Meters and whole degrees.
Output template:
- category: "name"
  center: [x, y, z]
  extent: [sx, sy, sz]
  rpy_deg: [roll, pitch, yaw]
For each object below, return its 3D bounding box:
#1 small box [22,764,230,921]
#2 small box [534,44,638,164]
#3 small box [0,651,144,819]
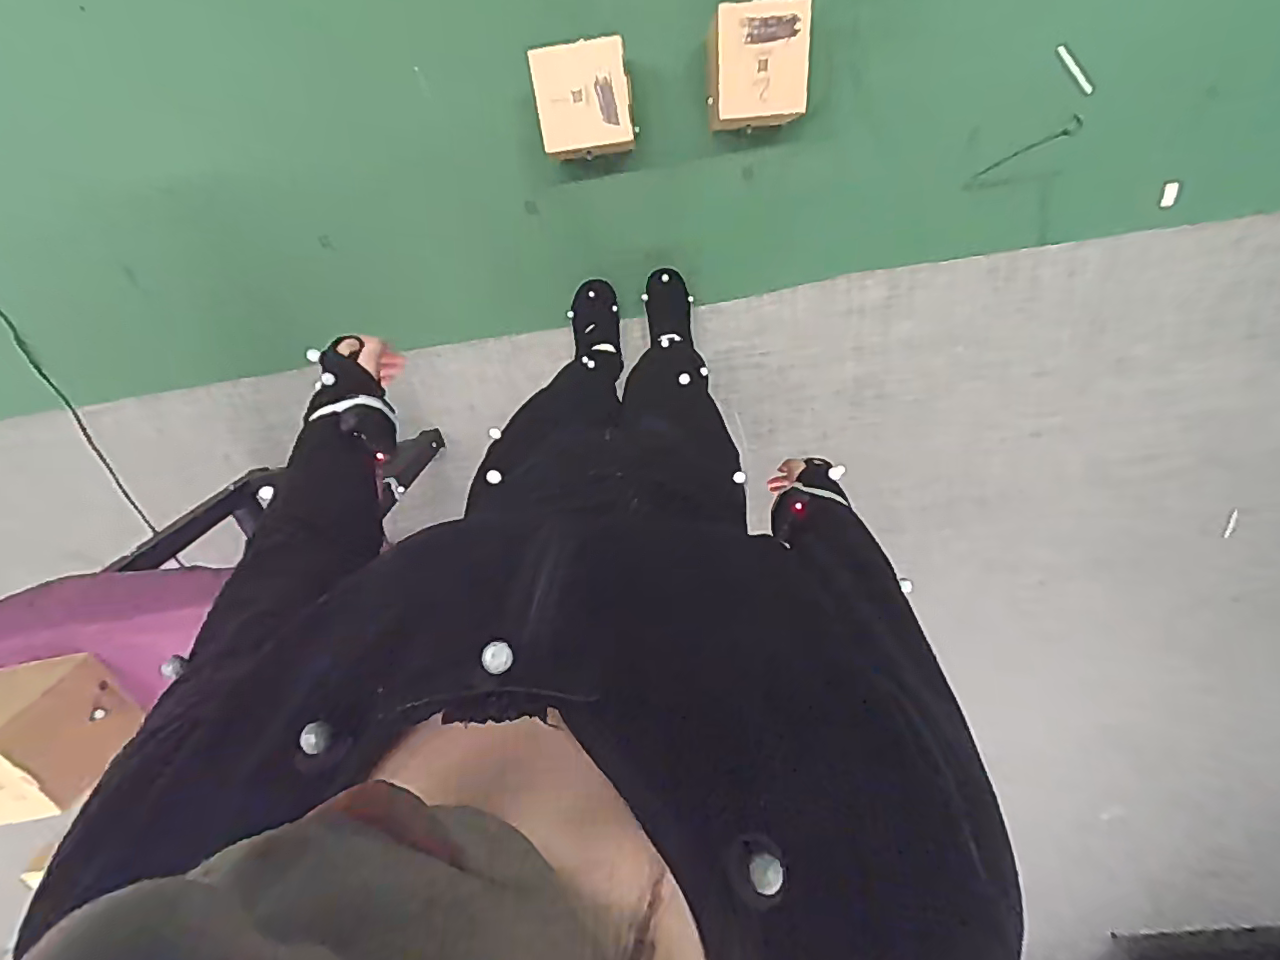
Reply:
- category: "small box"
  center: [-0.906, 0.647, 0.975]
  extent: [0.179, 0.176, 0.168]
  rpy_deg: [-11, 116, 4]
- category: "small box"
  center: [-0.099, -0.746, 1.090]
  extent: [0.179, 0.176, 0.168]
  rpy_deg: [-6, 116, 5]
- category: "small box"
  center: [-0.955, 0.394, 0.843]
  extent: [0.179, 0.176, 0.168]
  rpy_deg: [-10, 117, 2]
